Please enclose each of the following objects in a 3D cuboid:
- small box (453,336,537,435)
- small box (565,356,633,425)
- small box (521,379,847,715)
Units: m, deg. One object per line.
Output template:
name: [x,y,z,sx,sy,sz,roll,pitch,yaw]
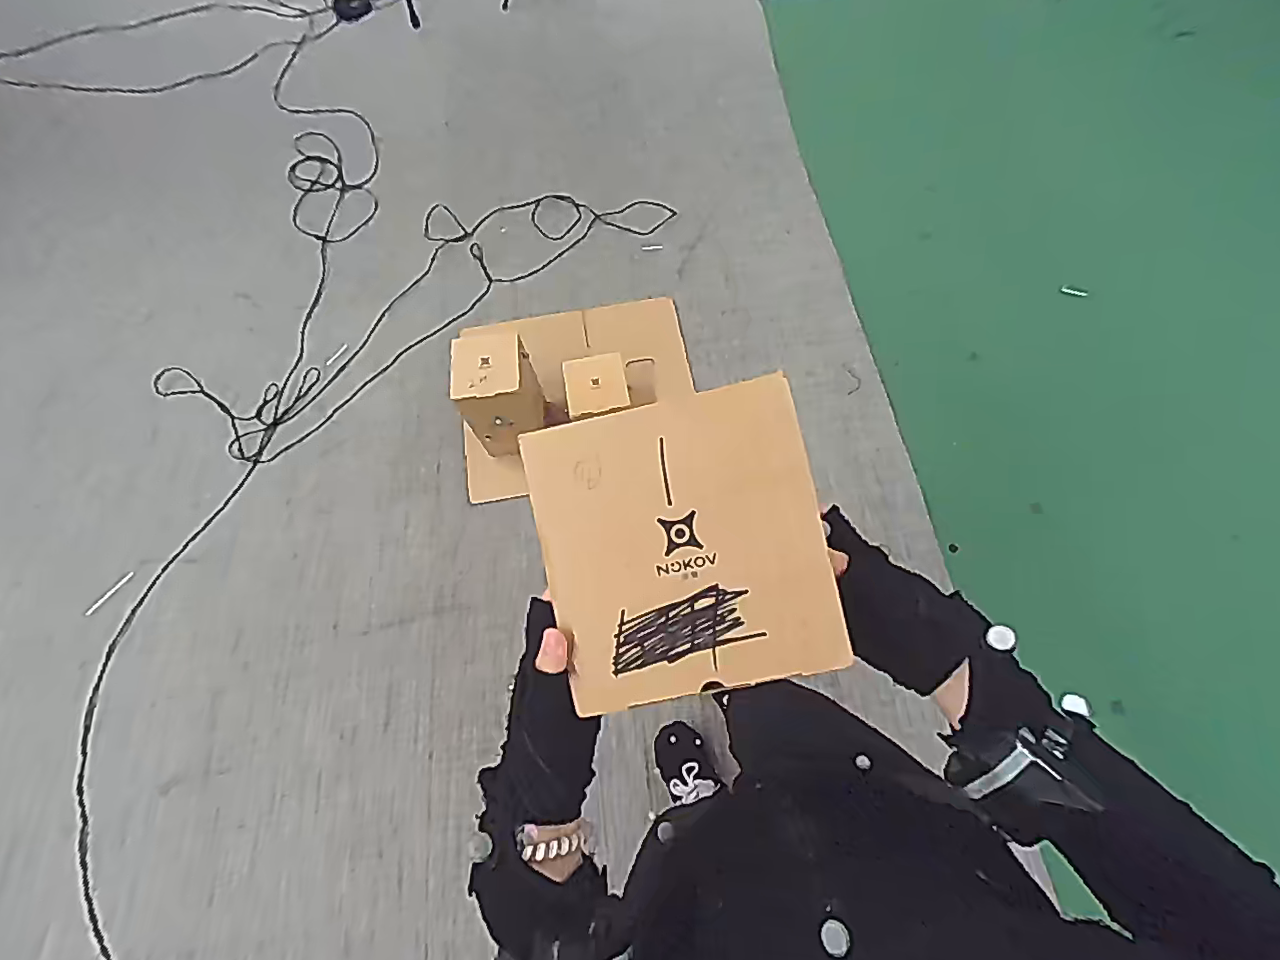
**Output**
small box: [-0.361,-0.235,1.366,0.168,0.176,0.179,-7,67,1]
small box: [-0.113,-0.220,1.530,0.168,0.176,0.179,-11,68,-3]
small box: [0.031,0.041,0.399,0.168,0.176,0.179,-13,88,4]
